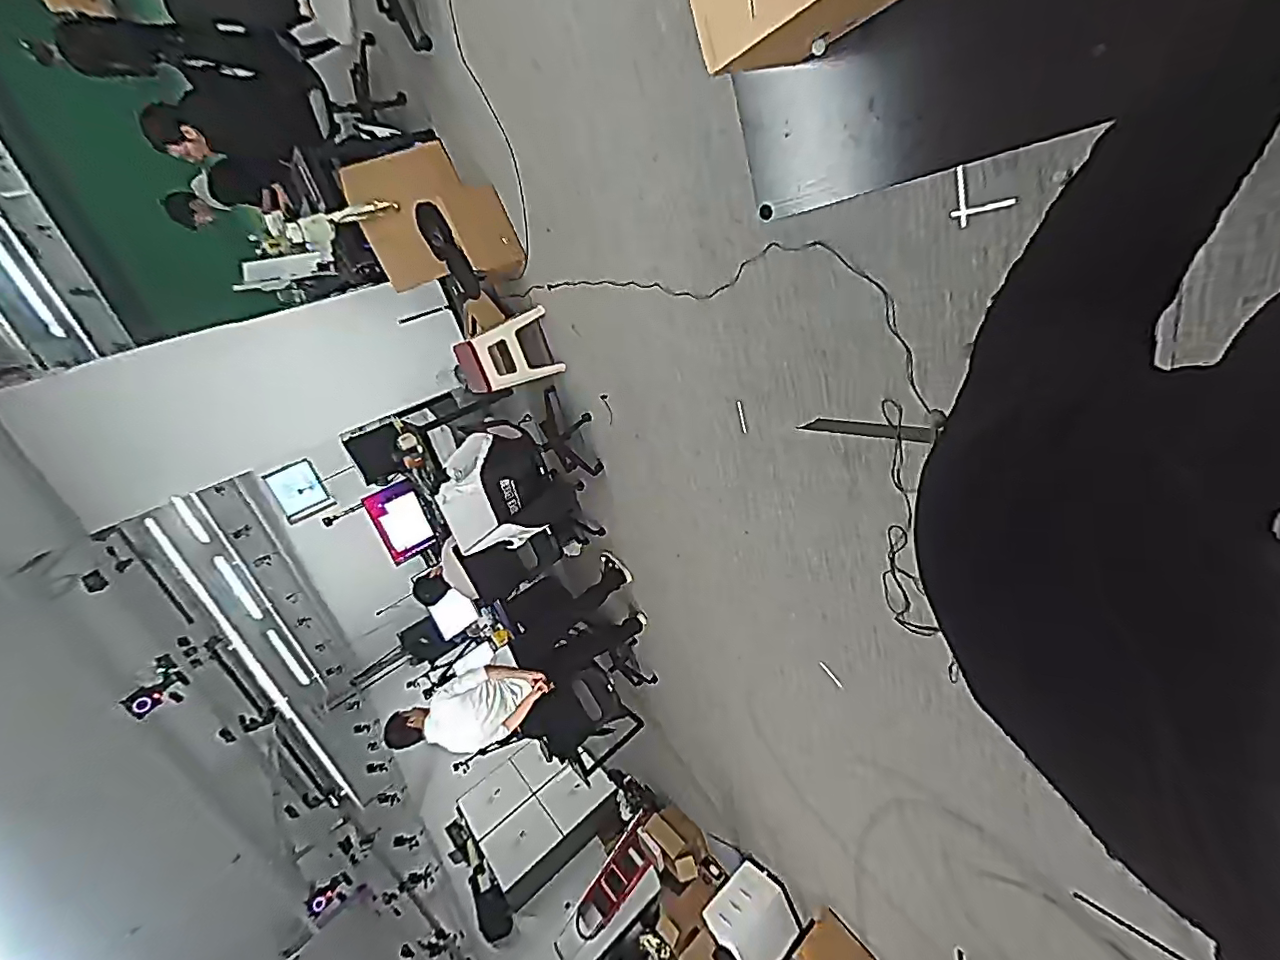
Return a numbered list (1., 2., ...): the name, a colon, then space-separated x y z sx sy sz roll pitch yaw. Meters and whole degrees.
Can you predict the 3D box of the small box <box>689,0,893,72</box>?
1. small box: 0.163 -0.592 0.596 0.168 0.176 0.179 12 128 54
